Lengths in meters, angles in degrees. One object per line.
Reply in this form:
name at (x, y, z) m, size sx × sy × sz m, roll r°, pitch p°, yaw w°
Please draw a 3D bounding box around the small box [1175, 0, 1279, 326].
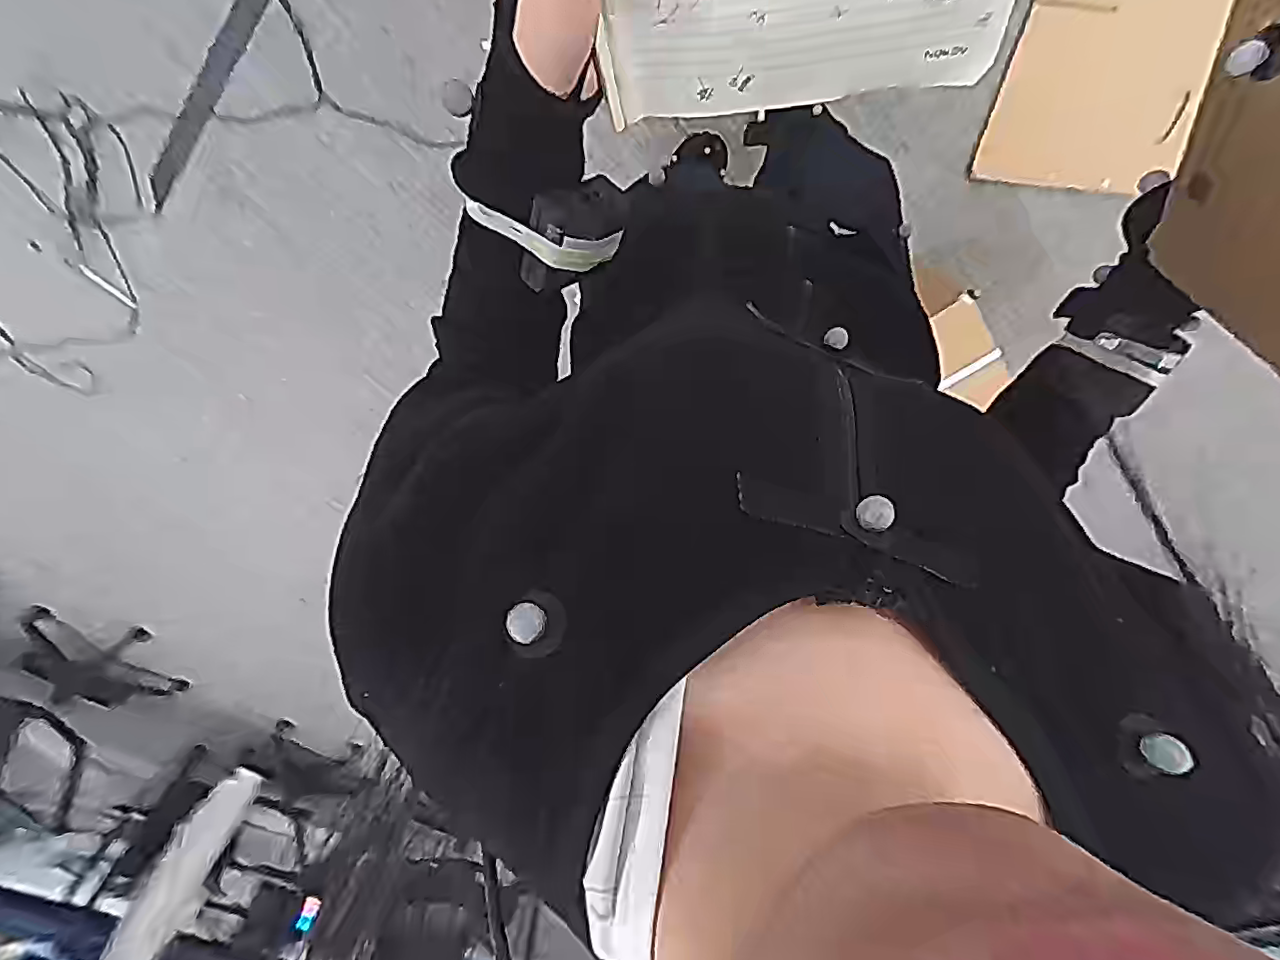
small box at (0.374, -0.149, 0.206) m, size 0.179 × 0.176 × 0.168 m, roll -19°, pitch 141°, yaw 18°
